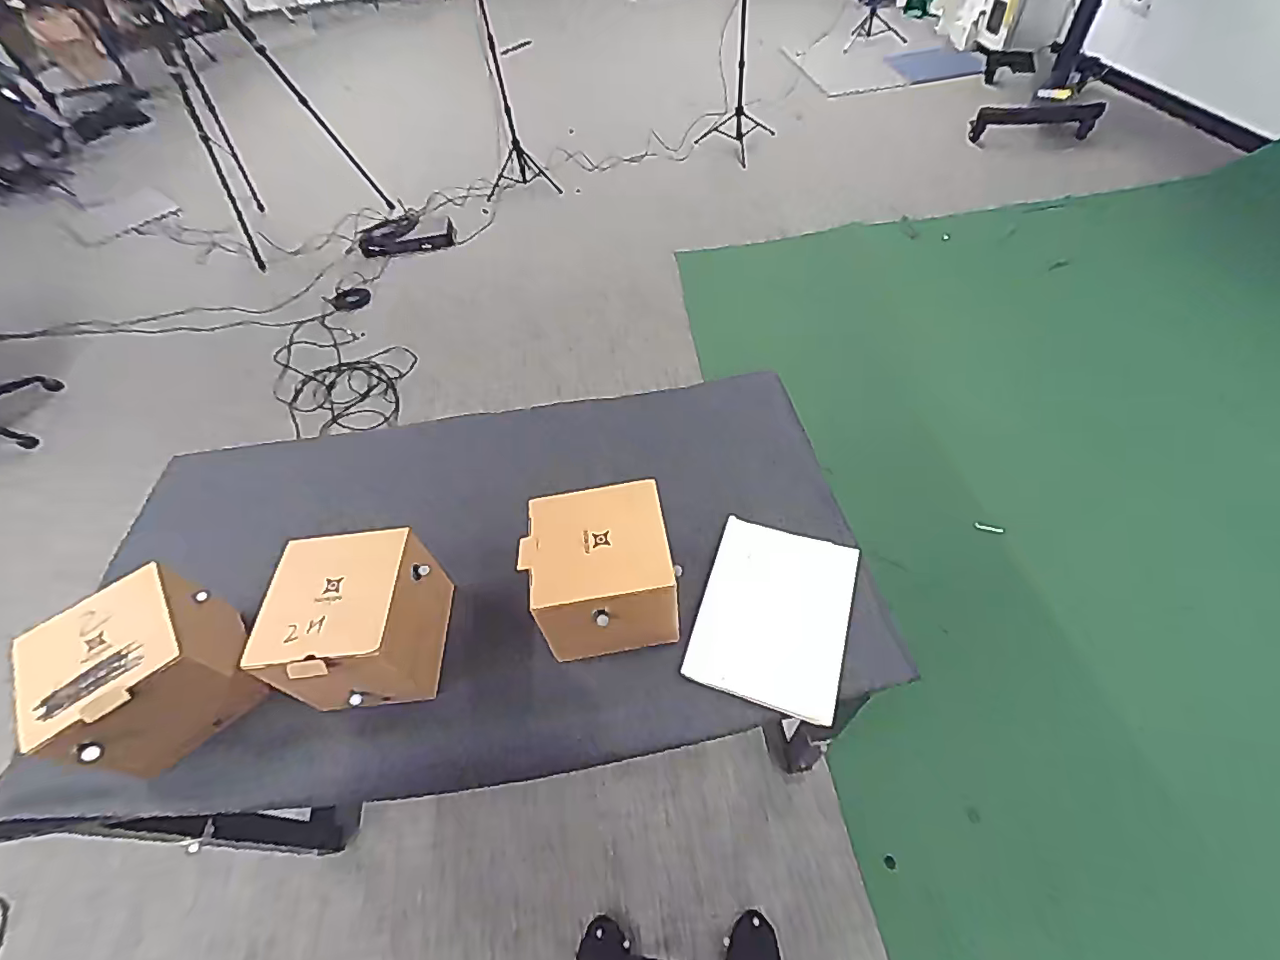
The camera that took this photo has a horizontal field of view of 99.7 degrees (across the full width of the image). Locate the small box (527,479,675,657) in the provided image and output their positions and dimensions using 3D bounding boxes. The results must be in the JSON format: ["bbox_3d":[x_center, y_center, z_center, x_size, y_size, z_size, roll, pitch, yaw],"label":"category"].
[{"bbox_3d":[-0.049,0.125,0.742,0.179,0.176,0.168,-10,51,0],"label":"small box"}]

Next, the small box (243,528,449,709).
[{"bbox_3d":[-0.373,0.188,0.730,0.168,0.176,0.179,-7,51,2],"label":"small box"}]
